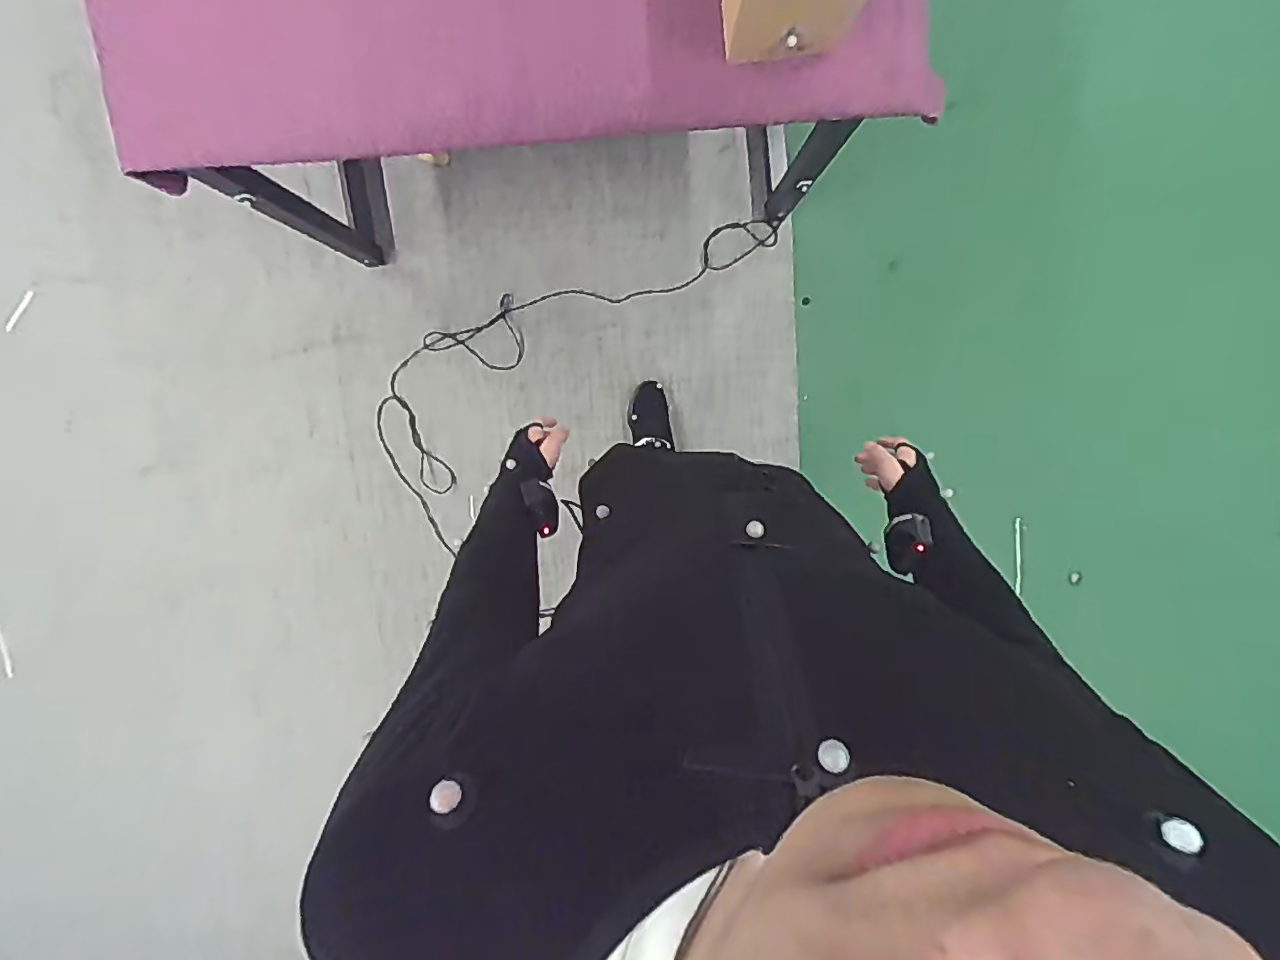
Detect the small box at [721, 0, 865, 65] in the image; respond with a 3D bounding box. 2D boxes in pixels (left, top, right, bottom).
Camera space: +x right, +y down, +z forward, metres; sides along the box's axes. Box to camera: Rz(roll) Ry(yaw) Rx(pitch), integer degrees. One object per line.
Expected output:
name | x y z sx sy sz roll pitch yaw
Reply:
small box | 0.196 -0.687 0.698 0.168 0.176 0.179 -6 99 1
